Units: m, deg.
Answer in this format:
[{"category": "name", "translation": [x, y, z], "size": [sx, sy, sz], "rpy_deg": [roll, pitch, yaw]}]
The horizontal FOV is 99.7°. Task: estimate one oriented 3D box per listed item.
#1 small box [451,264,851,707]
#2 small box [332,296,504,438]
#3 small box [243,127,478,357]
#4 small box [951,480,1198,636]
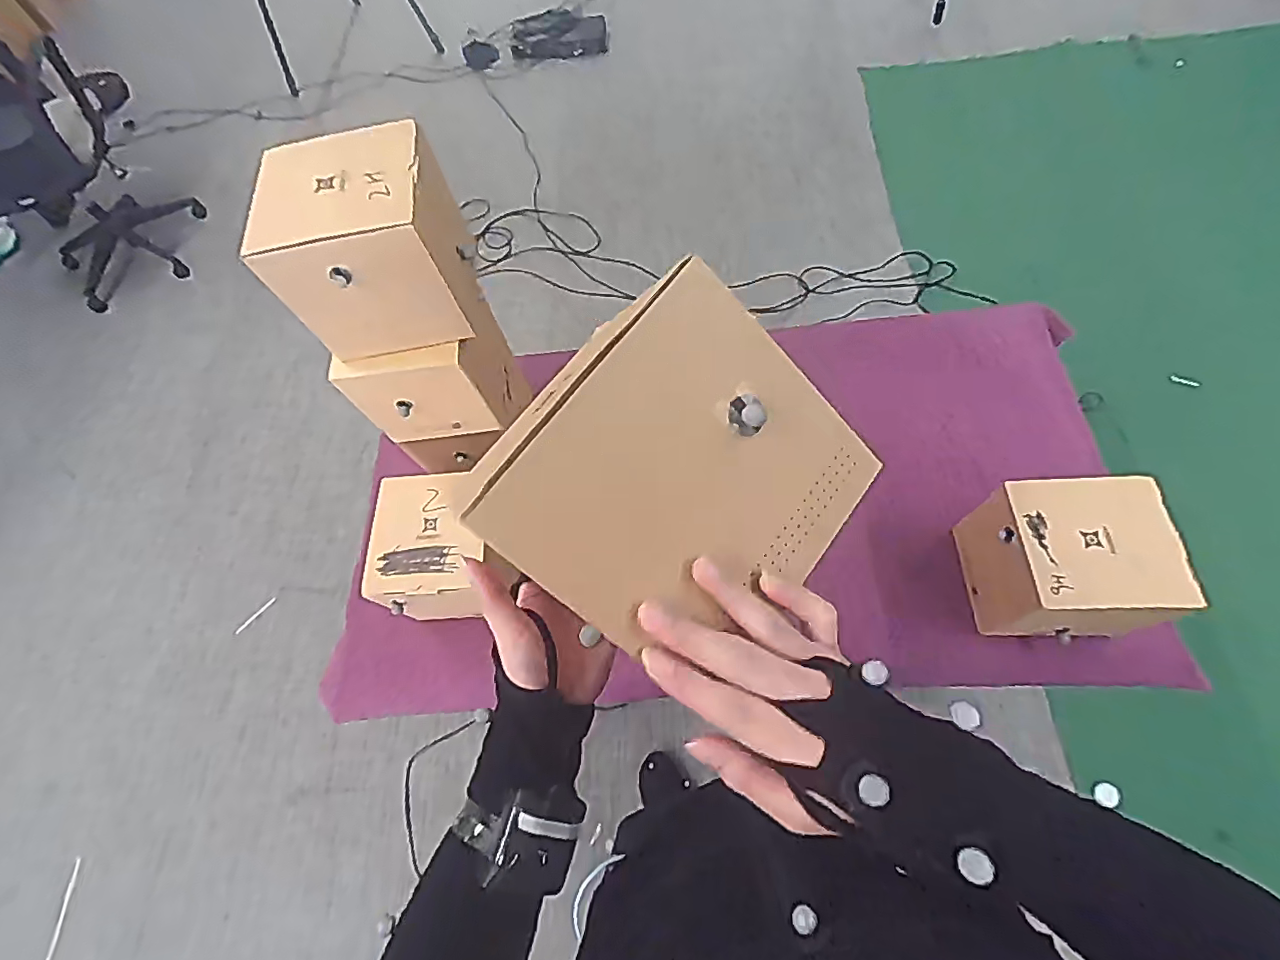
[{"category": "small box", "translation": [0.004, 0.004, 0.352], "size": [0.176, 0.168, 0.179], "rpy_deg": [43, 78, -16]}, {"category": "small box", "translation": [-0.298, -0.171, 0.767], "size": [0.168, 0.176, 0.179], "rpy_deg": [-7, 64, 3]}, {"category": "small box", "translation": [-0.304, -0.264, 0.628], "size": [0.179, 0.176, 0.168], "rpy_deg": [-10, 65, 1]}, {"category": "small box", "translation": [0.554, 0.109, 0.722], "size": [0.179, 0.176, 0.168], "rpy_deg": [-1, 64, 6]}]
